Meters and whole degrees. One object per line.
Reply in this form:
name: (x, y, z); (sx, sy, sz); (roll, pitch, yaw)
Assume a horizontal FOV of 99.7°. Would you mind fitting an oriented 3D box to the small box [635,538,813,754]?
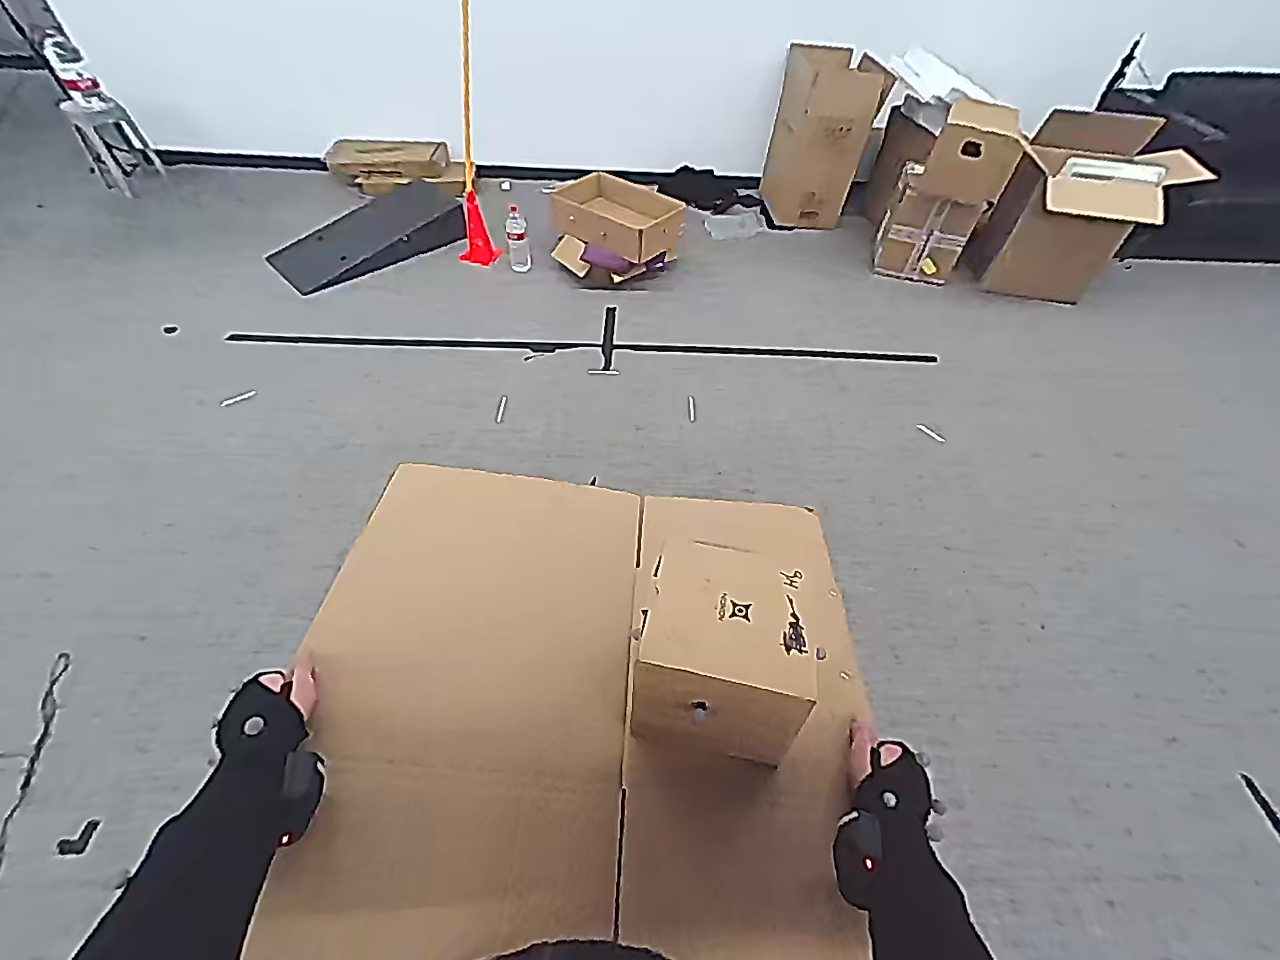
small box: (0.095, 0.194, 0.632); (0.179, 0.176, 0.168); (9, 44, 8)
